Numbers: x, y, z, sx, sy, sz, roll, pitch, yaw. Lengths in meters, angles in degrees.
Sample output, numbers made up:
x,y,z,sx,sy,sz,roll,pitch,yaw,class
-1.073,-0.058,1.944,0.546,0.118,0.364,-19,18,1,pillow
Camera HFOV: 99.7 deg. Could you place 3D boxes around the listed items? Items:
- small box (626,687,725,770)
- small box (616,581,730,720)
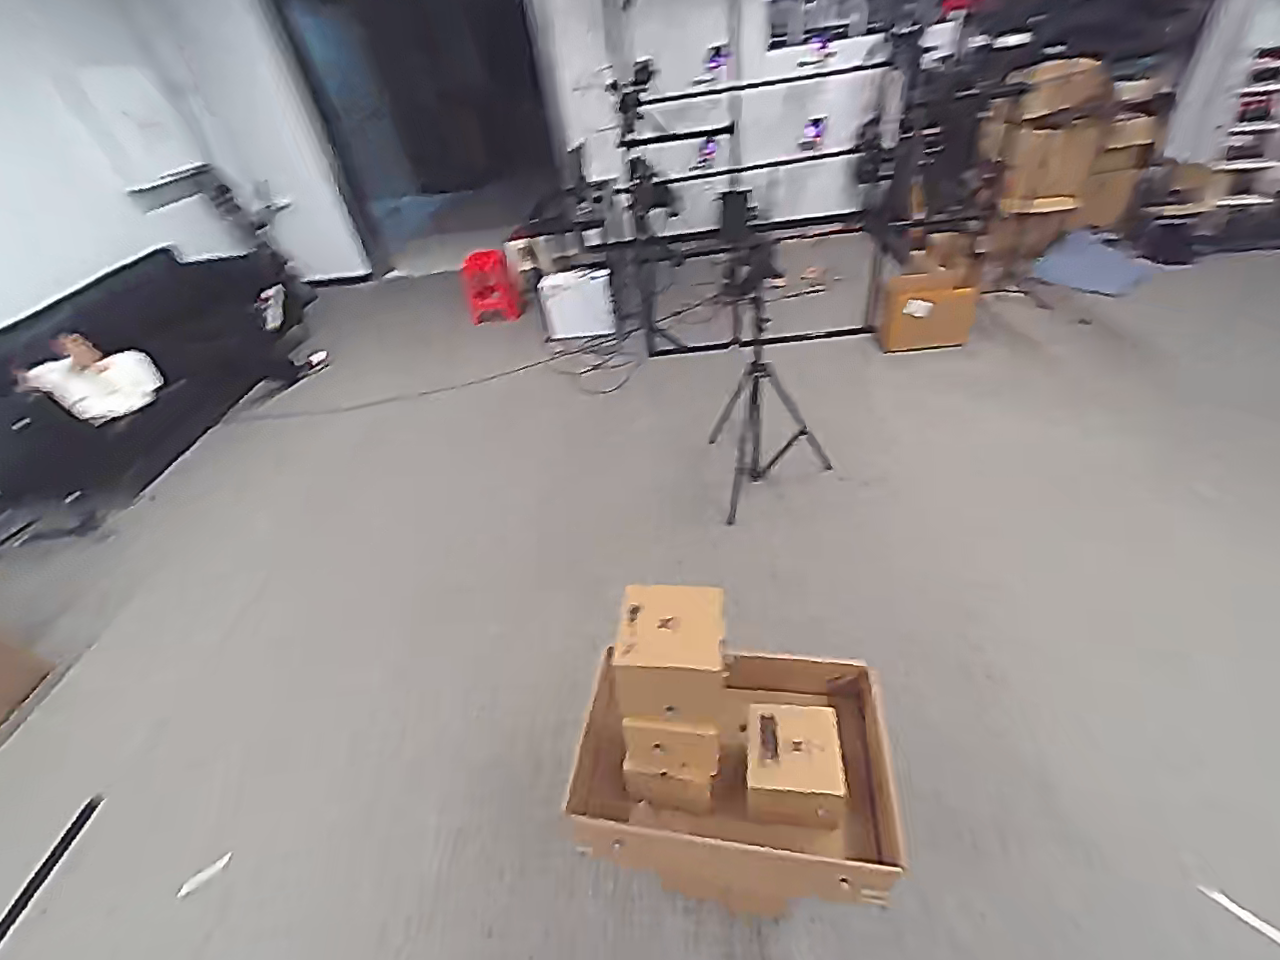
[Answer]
x,y,z,sx,sy,sz,roll,pitch,yaw,class
0.077,0.435,1.048,0.168,0.176,0.179,2,39,11,small box
0.064,0.302,0.953,0.179,0.176,0.168,2,39,10,small box
